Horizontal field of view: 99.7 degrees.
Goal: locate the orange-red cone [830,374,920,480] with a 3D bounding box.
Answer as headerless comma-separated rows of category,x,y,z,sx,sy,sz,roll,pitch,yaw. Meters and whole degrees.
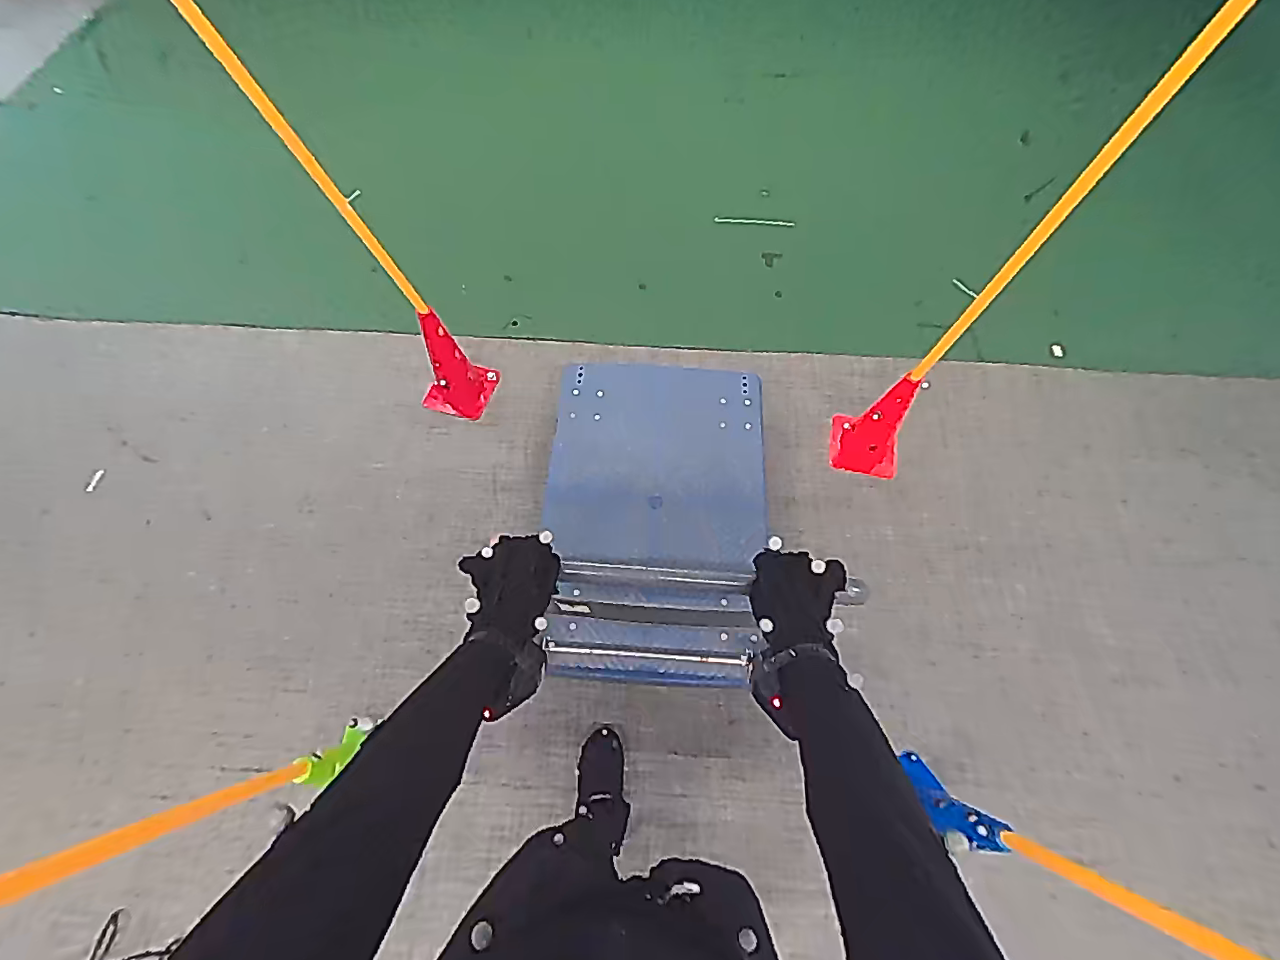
orange-red cone,0.693,-0.174,1.521,0.198,0.360,0.199,13,65,7
